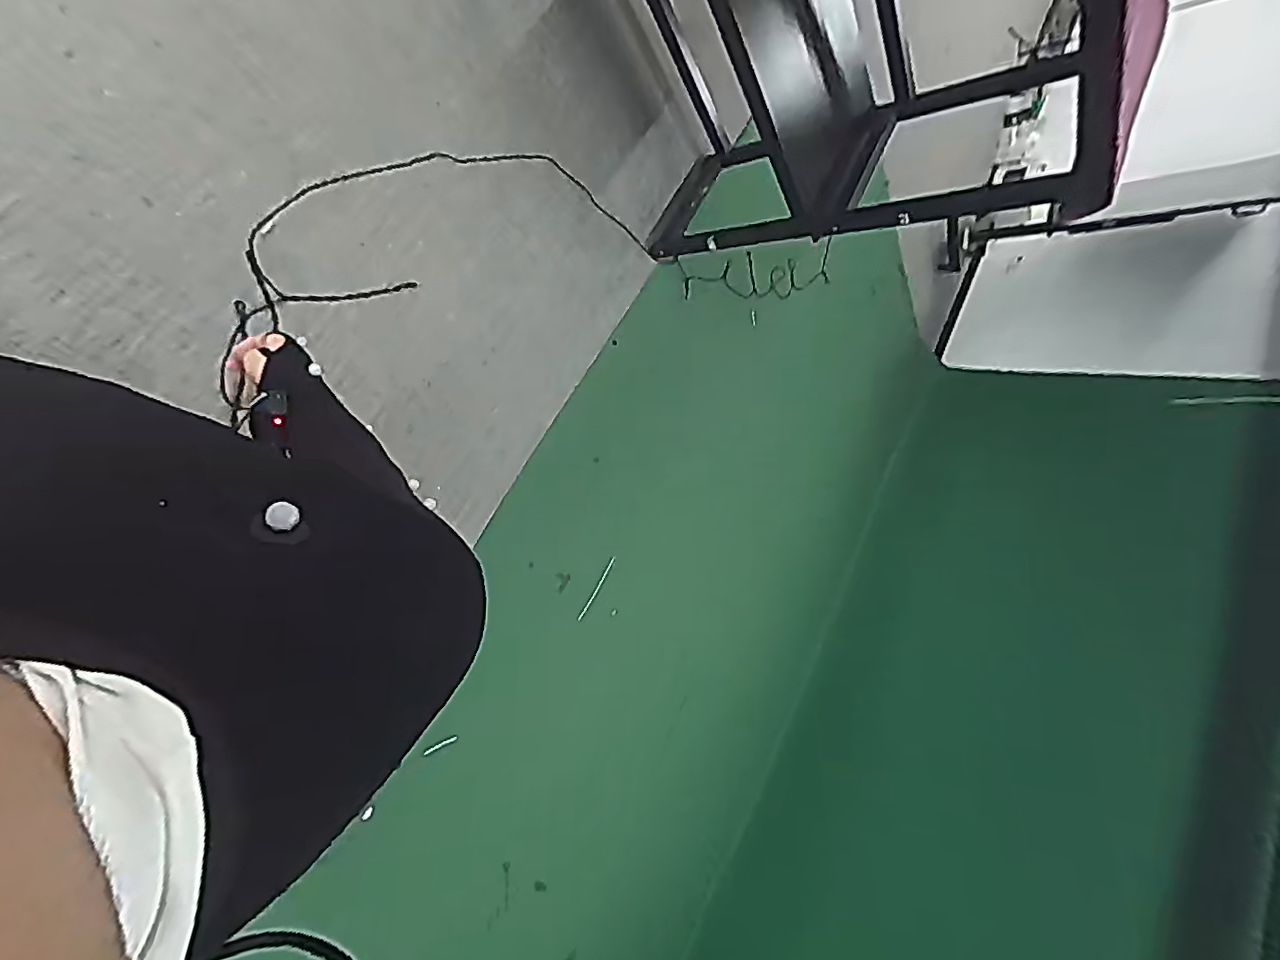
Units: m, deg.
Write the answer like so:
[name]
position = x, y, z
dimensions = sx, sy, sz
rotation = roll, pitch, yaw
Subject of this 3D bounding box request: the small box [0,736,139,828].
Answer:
[small box]
position = -1.254, 0.692, 1.175
dimensions = 0.179, 0.176, 0.168
rotation = -56, 134, -18
